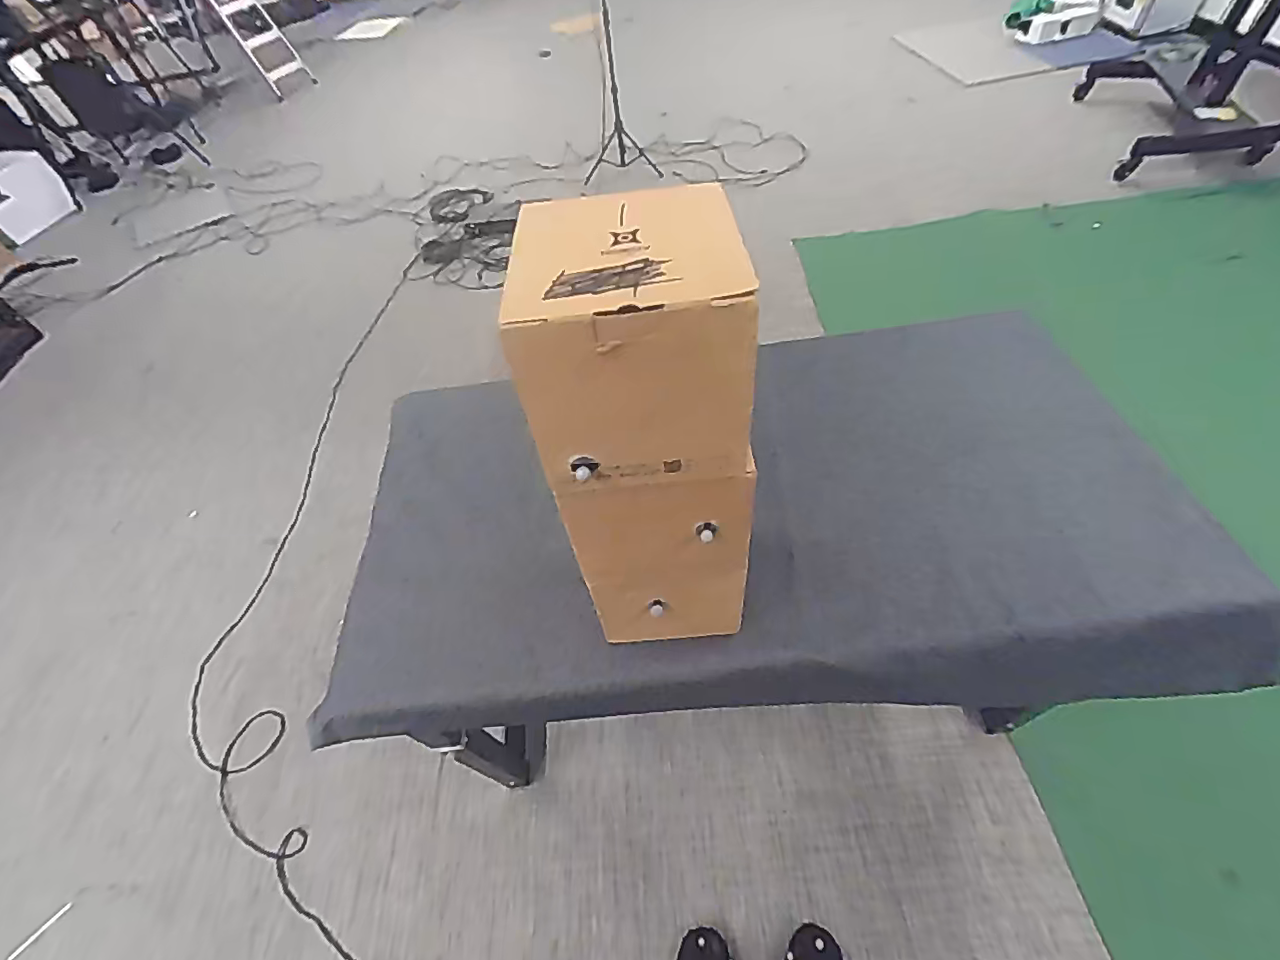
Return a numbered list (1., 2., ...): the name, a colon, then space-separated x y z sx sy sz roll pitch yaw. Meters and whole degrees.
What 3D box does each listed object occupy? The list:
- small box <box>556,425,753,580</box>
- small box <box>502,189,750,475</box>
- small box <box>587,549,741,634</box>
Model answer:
1. small box: 0.017 -0.008 0.580 0.179 0.176 0.168 -6 49 3
2. small box: -0.004 -0.117 0.458 0.168 0.176 0.179 -5 48 2
3. small box: 0.033 0.090 0.708 0.179 0.176 0.168 -5 51 3
